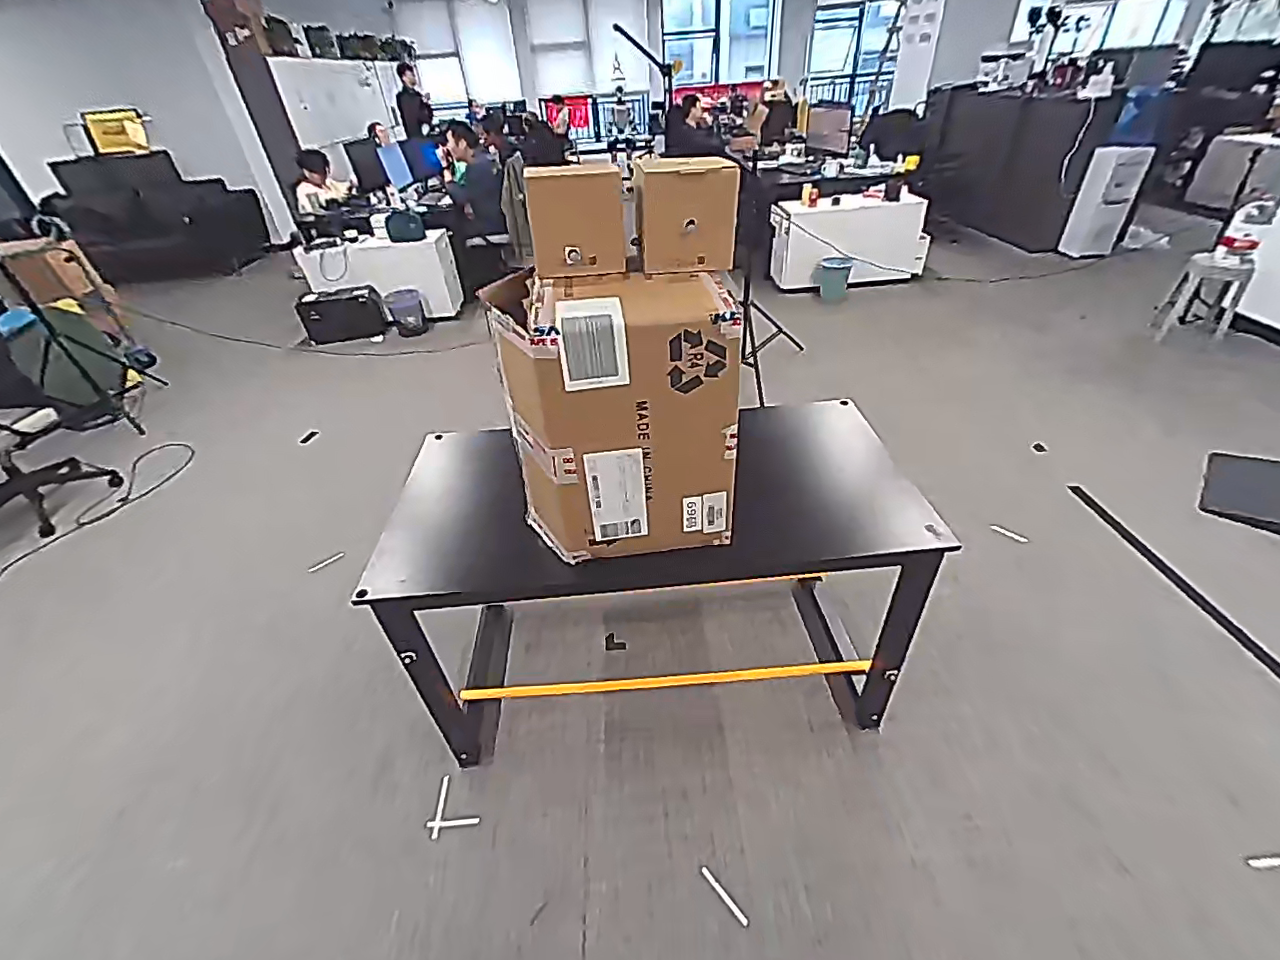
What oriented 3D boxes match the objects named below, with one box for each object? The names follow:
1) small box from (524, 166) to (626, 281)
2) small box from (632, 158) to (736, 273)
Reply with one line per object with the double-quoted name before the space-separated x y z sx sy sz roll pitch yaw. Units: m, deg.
"small box" -0.122 -0.484 1.019 0.168 0.176 0.179 -9 36 -6
"small box" 0.077 -0.496 1.018 0.168 0.176 0.179 -4 37 -4
